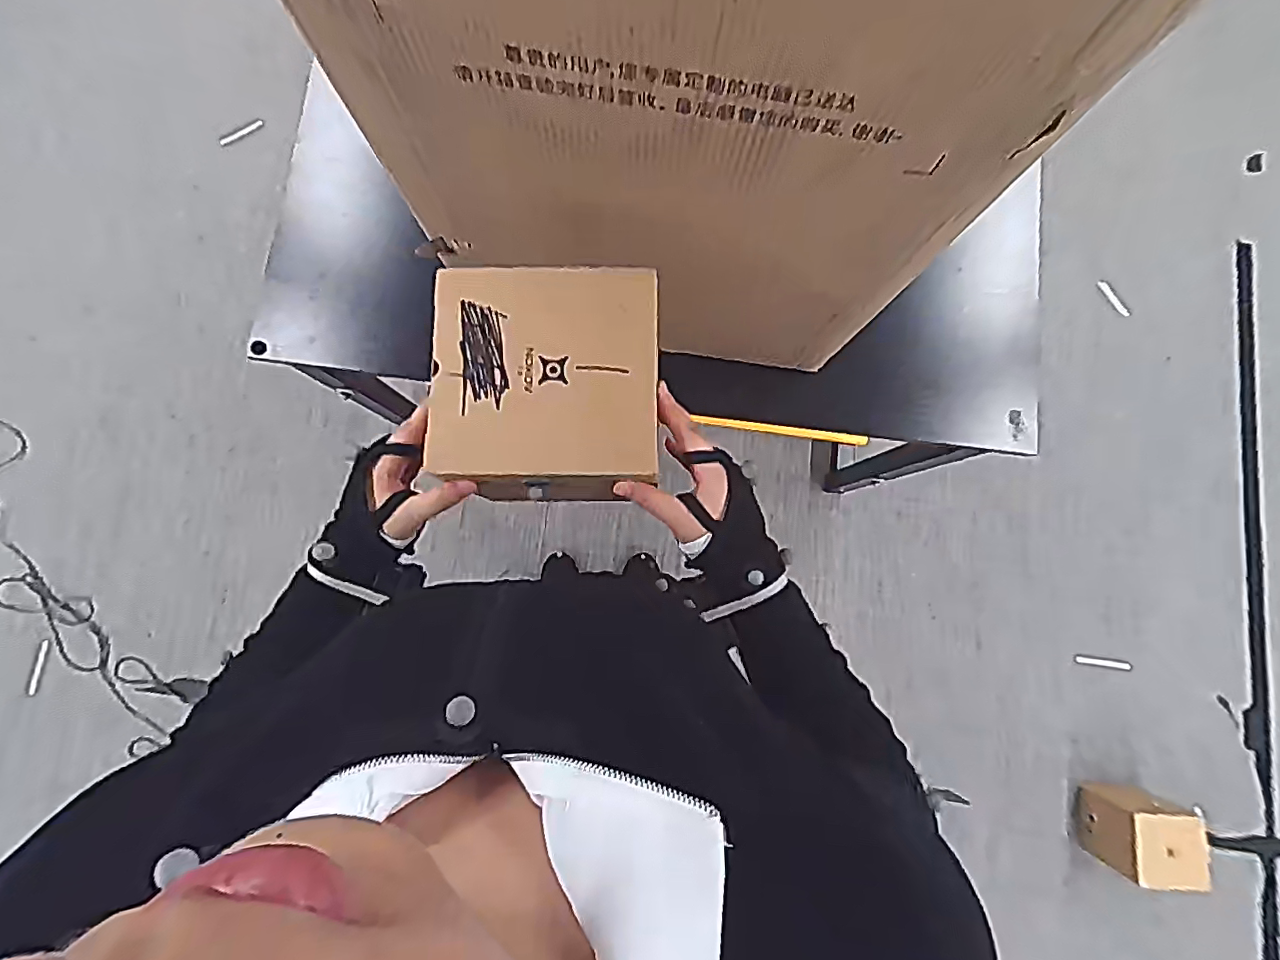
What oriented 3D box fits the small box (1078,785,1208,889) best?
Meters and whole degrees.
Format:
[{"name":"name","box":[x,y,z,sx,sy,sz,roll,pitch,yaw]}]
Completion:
[{"name":"small box","box":[1.267,0.898,1.373,0.179,0.176,0.168,3,82,0]}]

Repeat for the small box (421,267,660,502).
[{"name":"small box","box":[-0.071,-0.070,0.484,0.179,0.176,0.168,0,81,1]}]
